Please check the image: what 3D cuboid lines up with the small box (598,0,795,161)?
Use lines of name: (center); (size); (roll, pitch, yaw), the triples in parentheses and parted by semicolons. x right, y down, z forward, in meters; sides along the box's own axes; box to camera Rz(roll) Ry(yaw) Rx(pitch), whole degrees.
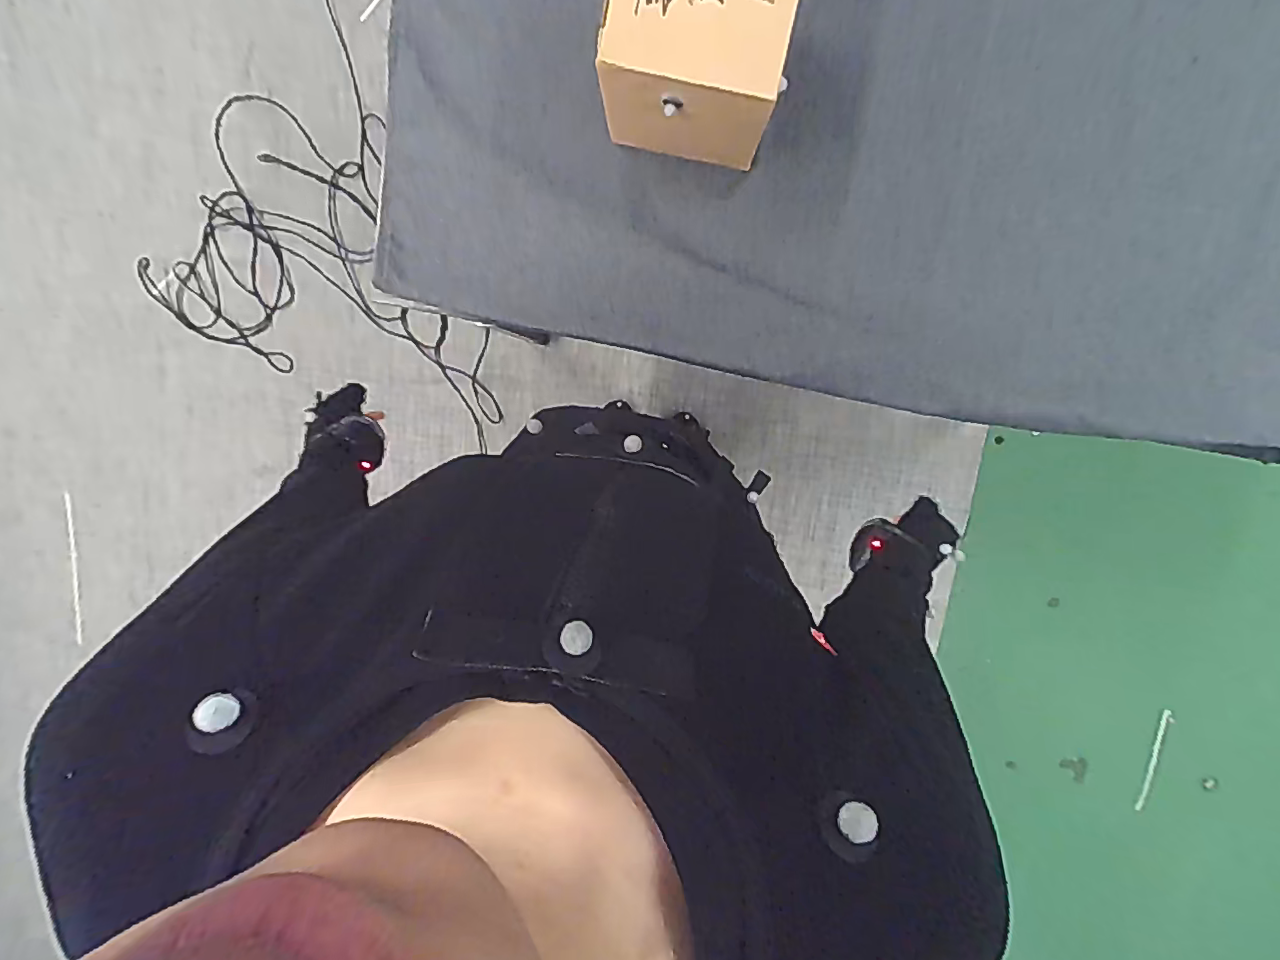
small box: (0.062, -0.474, 0.582); (0.179, 0.176, 0.168); (12, 99, -1)
